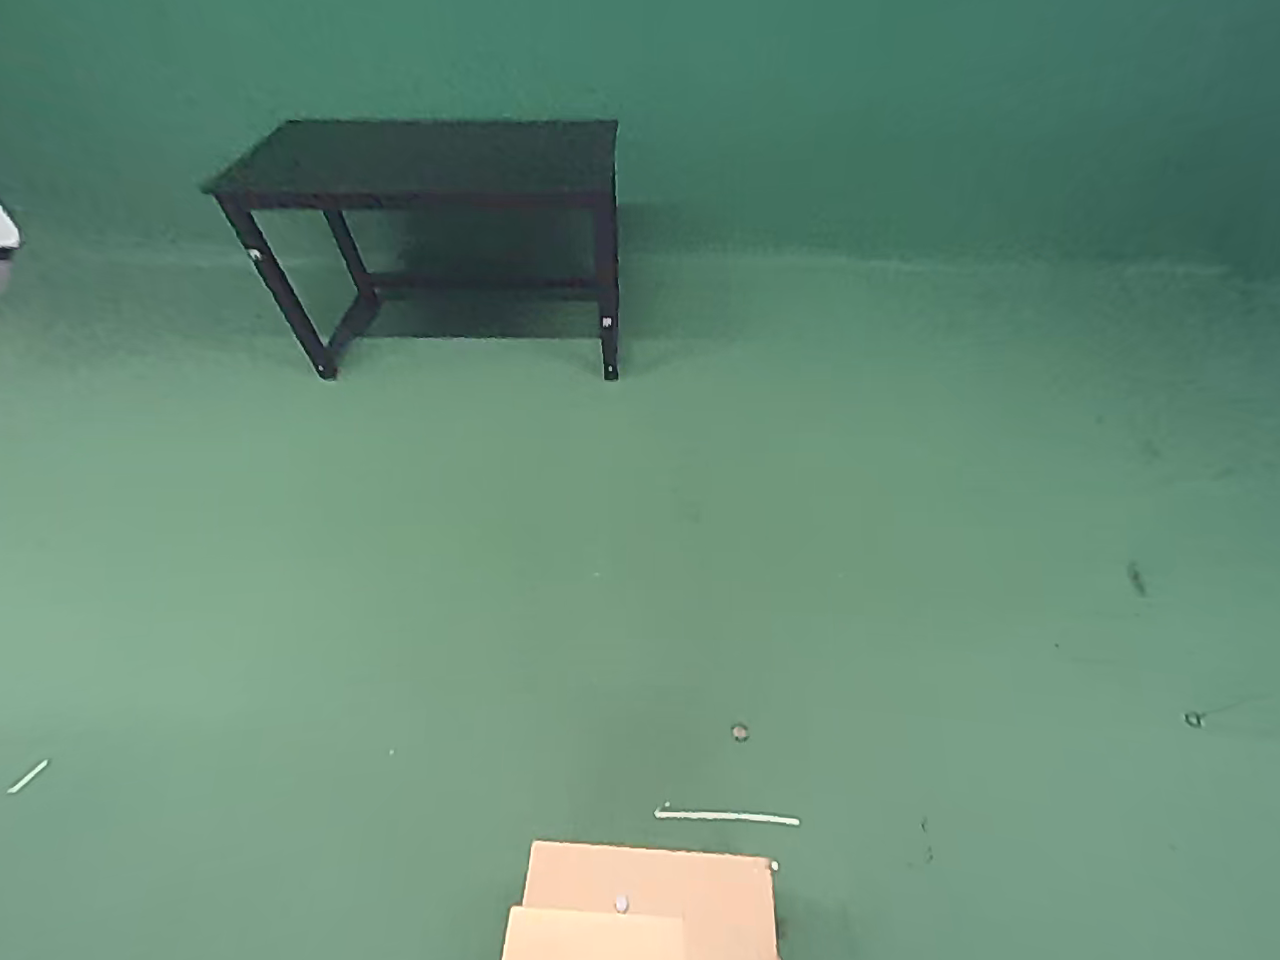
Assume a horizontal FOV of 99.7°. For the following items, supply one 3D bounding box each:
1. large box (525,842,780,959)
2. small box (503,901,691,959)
[{"bbox_3d":[0.011,0.830,0.913,0.408,0.320,0.320,2,50,2],"label":"large box"},{"bbox_3d":[-0.044,0.506,0.497,0.168,0.176,0.179,3,51,1],"label":"small box"}]
